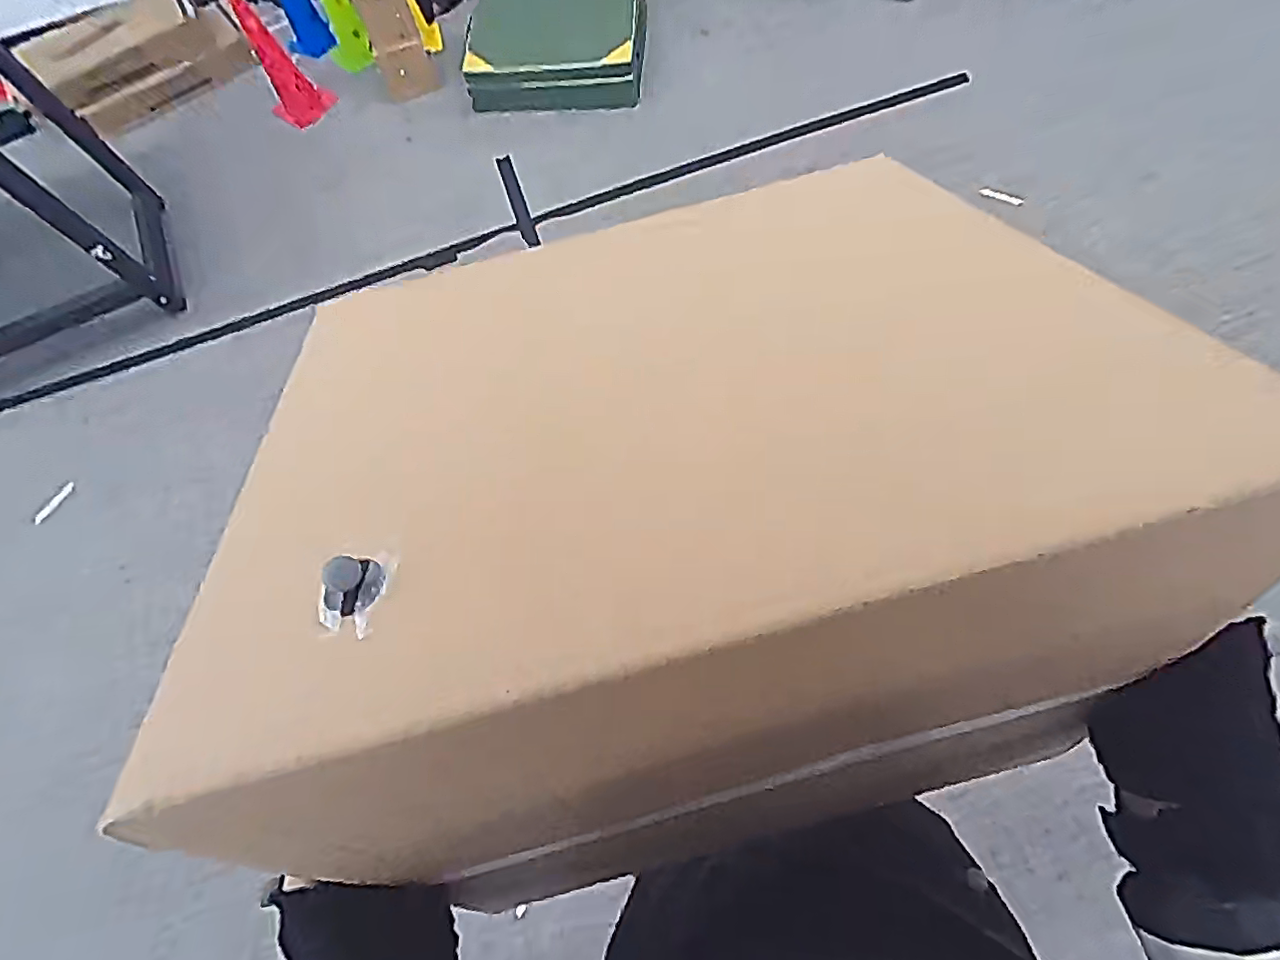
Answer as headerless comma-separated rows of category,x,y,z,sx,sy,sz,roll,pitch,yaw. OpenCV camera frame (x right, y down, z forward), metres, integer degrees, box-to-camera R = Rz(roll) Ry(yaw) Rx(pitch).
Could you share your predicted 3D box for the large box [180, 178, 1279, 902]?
large box,0.037,0.041,0.382,0.408,0.320,0.320,-16,47,0
